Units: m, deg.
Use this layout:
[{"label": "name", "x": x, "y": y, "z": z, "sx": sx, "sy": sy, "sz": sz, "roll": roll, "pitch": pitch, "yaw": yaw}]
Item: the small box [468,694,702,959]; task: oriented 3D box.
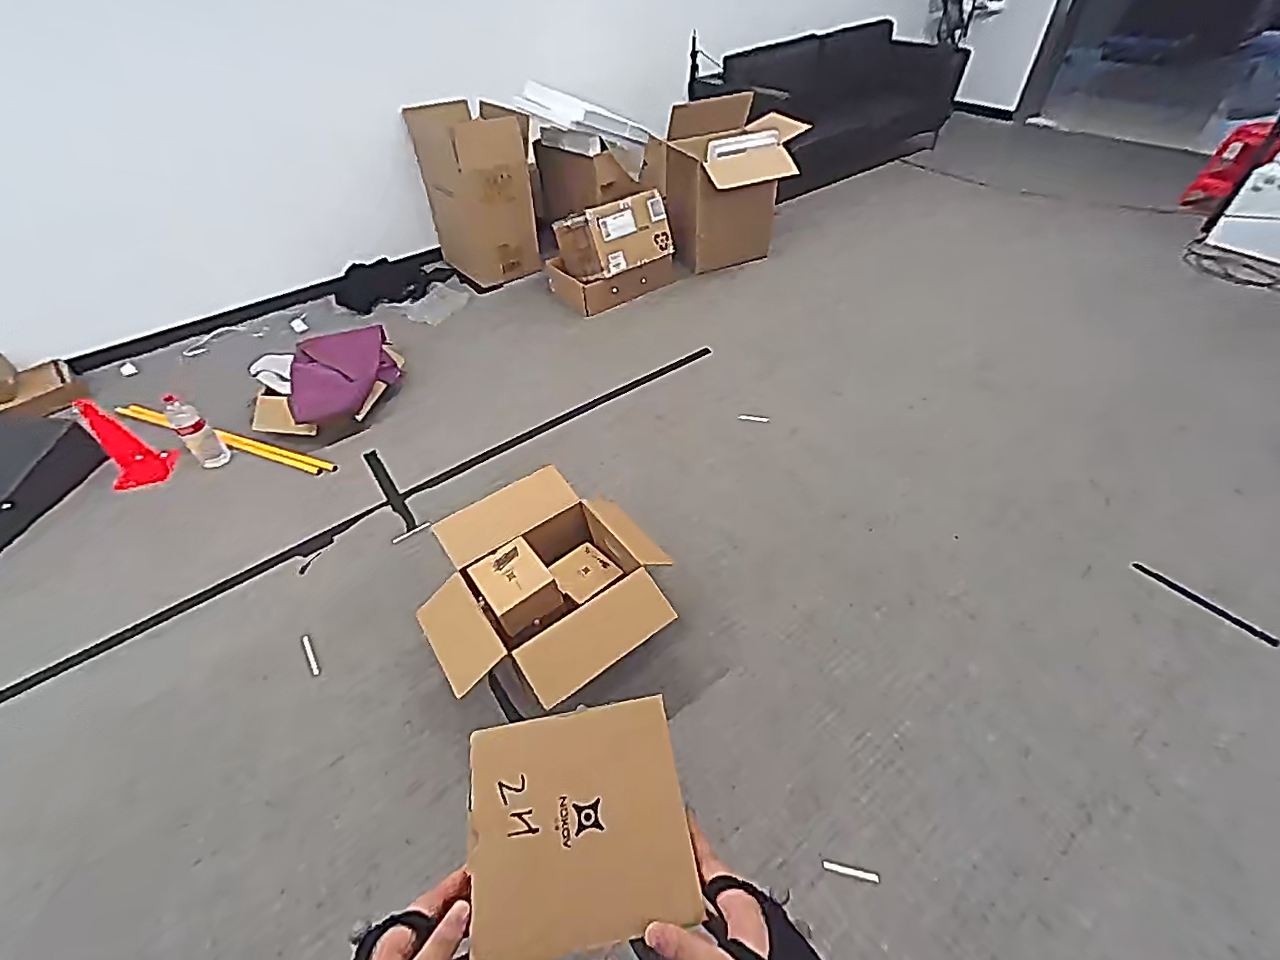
[{"label": "small box", "x": -0.052, "y": 0.320, "z": 0.507, "sx": 0.179, "sy": 0.176, "sz": 0.168, "roll": -9, "pitch": 53, "yaw": -5}]
